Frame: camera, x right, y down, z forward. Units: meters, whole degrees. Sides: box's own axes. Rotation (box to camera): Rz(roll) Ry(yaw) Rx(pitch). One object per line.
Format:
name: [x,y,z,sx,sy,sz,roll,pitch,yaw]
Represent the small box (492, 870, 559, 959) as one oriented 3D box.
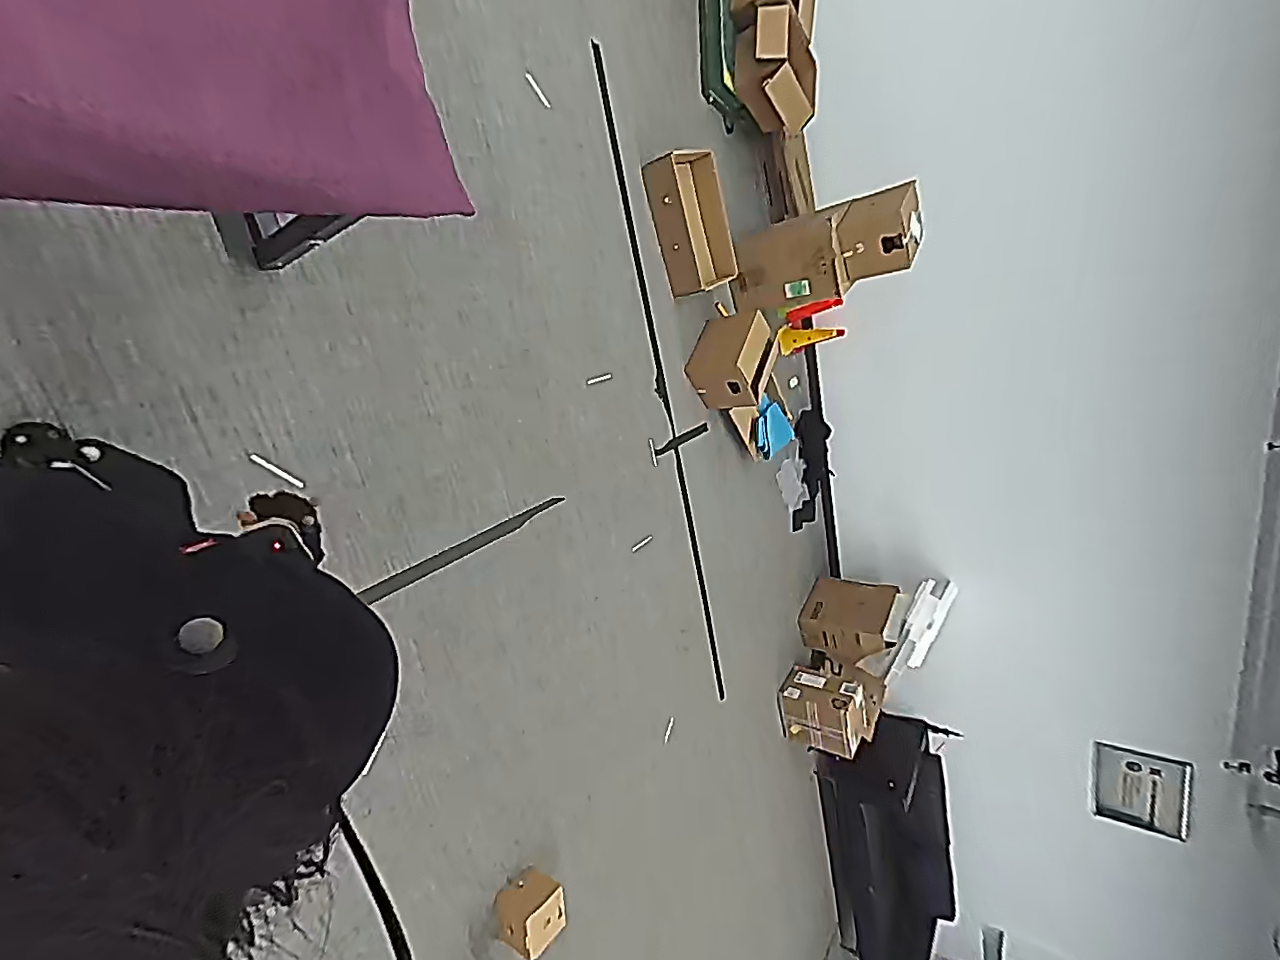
small box: [-0.415,1.561,1.940,0.179,0.176,0.168,-11,100,-52]
